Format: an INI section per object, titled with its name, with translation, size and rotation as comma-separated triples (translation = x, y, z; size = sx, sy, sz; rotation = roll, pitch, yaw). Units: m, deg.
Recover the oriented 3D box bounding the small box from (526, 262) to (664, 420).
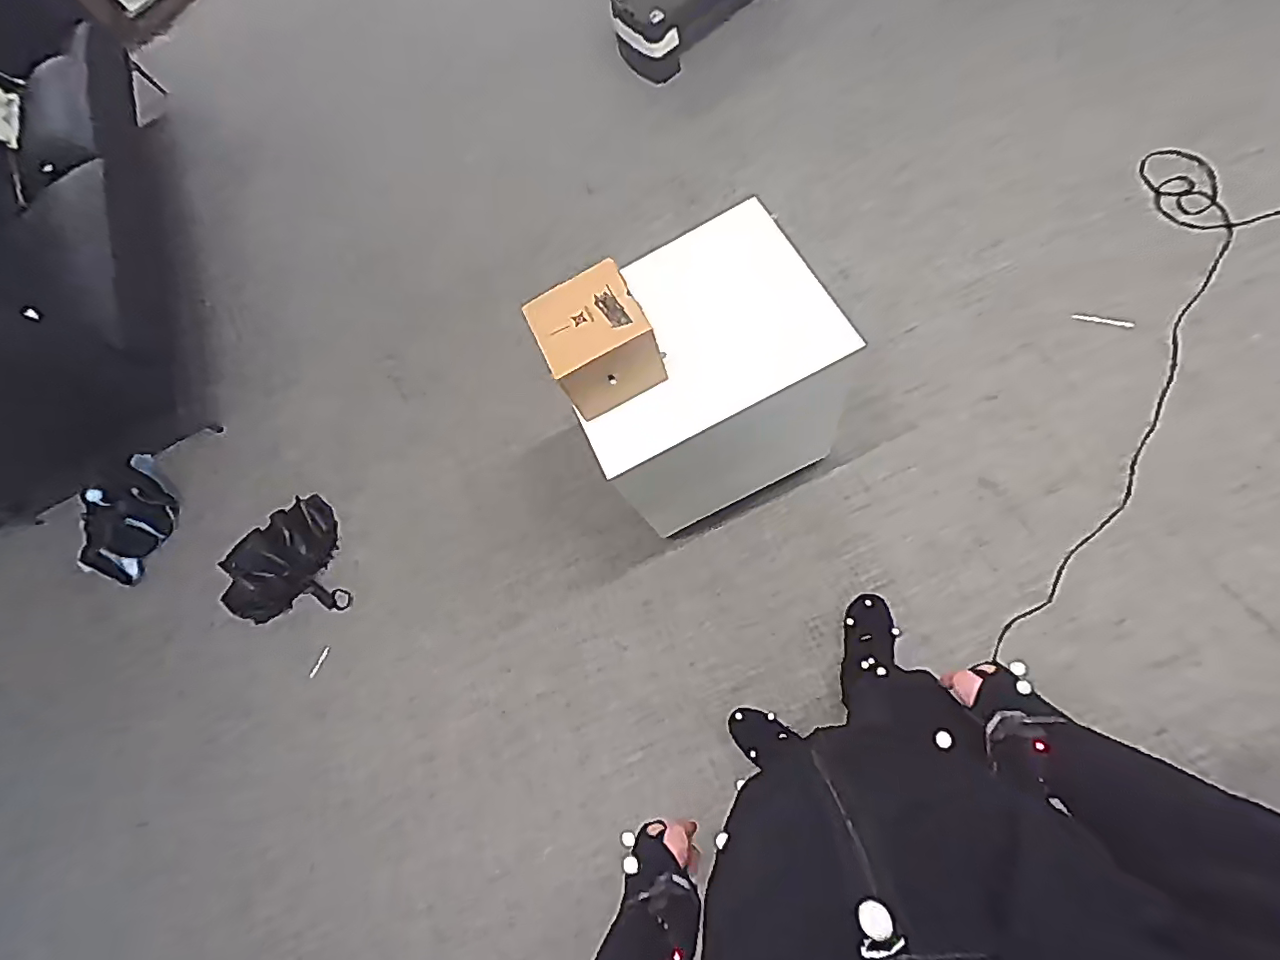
[small box]
translation = -0.068, -0.236, 0.953
size = 0.179, 0.176, 0.168
rotation = -28, 68, 4
